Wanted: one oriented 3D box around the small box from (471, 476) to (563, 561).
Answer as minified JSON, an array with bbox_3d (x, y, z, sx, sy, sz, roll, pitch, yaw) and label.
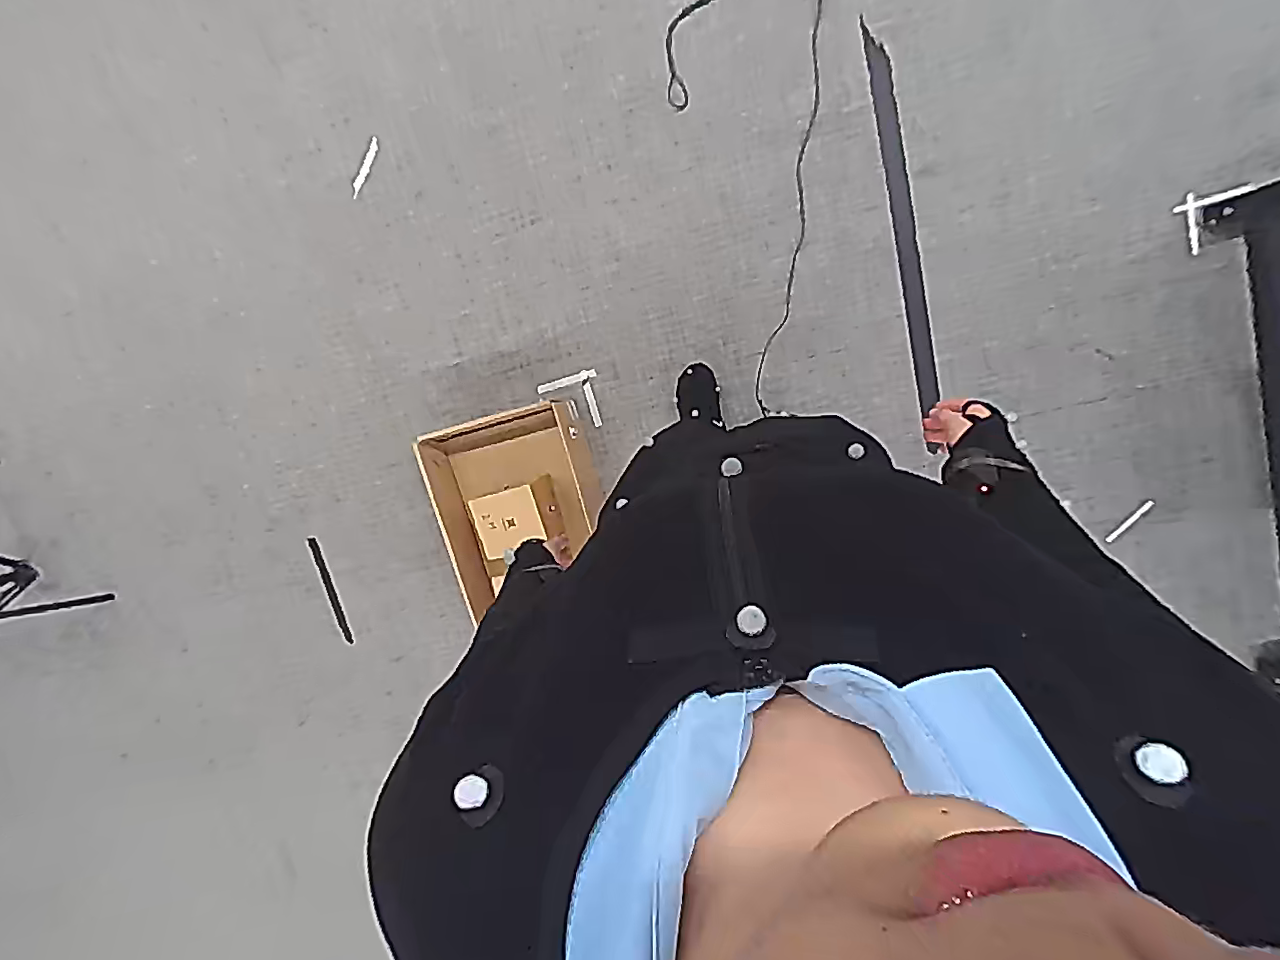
[{"bbox_3d":[-0.318,0.096,1.448,0.179,0.176,0.168,-15,98,10],"label":"small box"}]
